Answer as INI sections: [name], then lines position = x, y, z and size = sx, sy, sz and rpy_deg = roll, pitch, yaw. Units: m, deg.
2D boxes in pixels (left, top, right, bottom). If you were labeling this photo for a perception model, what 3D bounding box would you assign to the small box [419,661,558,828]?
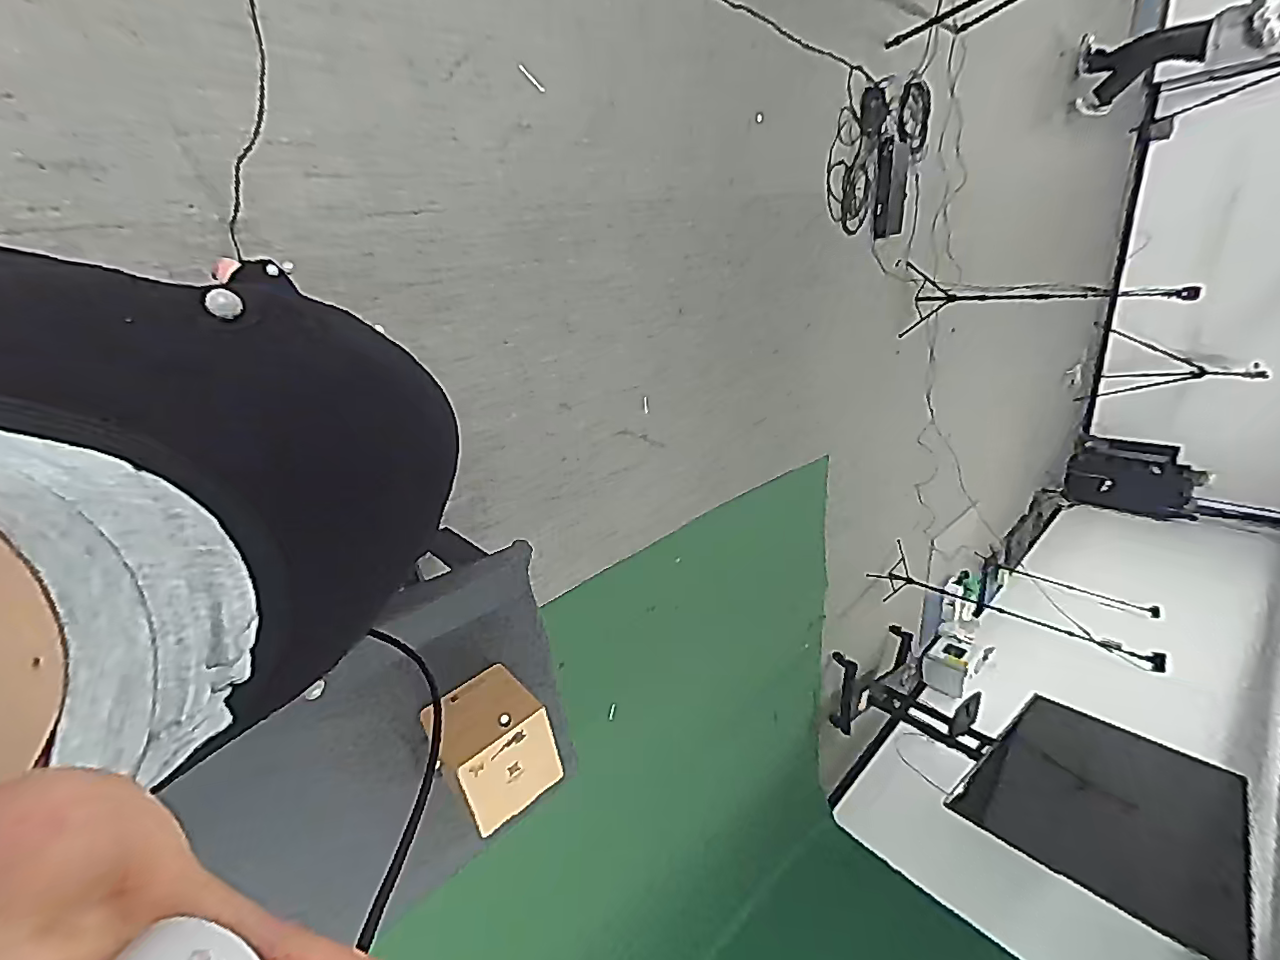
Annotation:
[small box]
position = -0.277, 0.471, 0.990
size = 0.168, 0.176, 0.179
rpy_deg = -27, 122, -36
